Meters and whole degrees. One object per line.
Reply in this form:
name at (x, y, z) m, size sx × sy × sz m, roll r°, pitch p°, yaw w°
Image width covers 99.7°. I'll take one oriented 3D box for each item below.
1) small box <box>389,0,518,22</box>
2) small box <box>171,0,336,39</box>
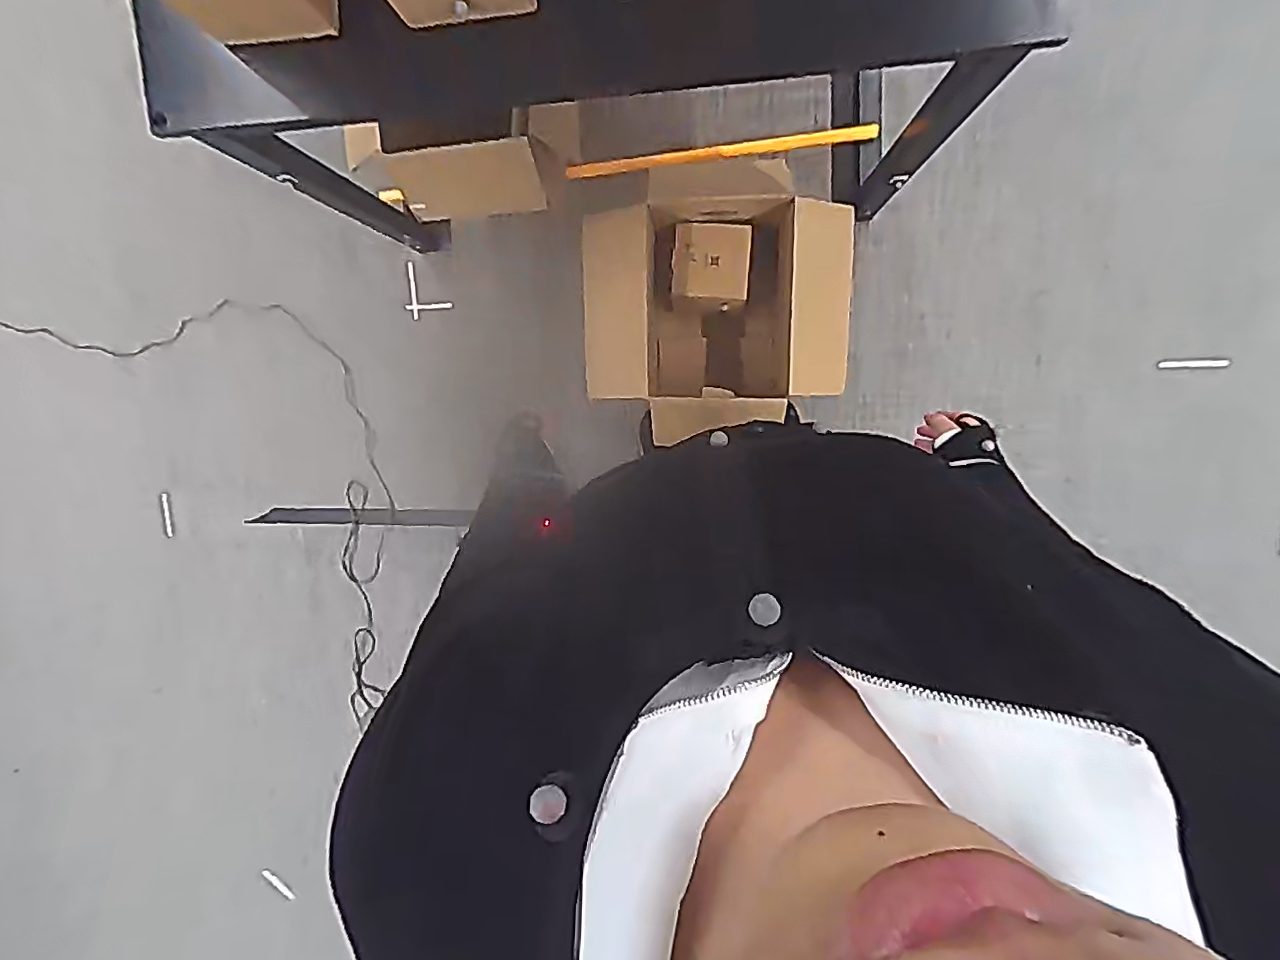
small box at (-0.230, -0.662, 0.602) m, size 0.179 × 0.176 × 0.168 m, roll -3°, pitch 98°, yaw 5°
small box at (-0.493, -0.656, 0.629) m, size 0.179 × 0.176 × 0.168 m, roll 0°, pitch 99°, yaw 5°
